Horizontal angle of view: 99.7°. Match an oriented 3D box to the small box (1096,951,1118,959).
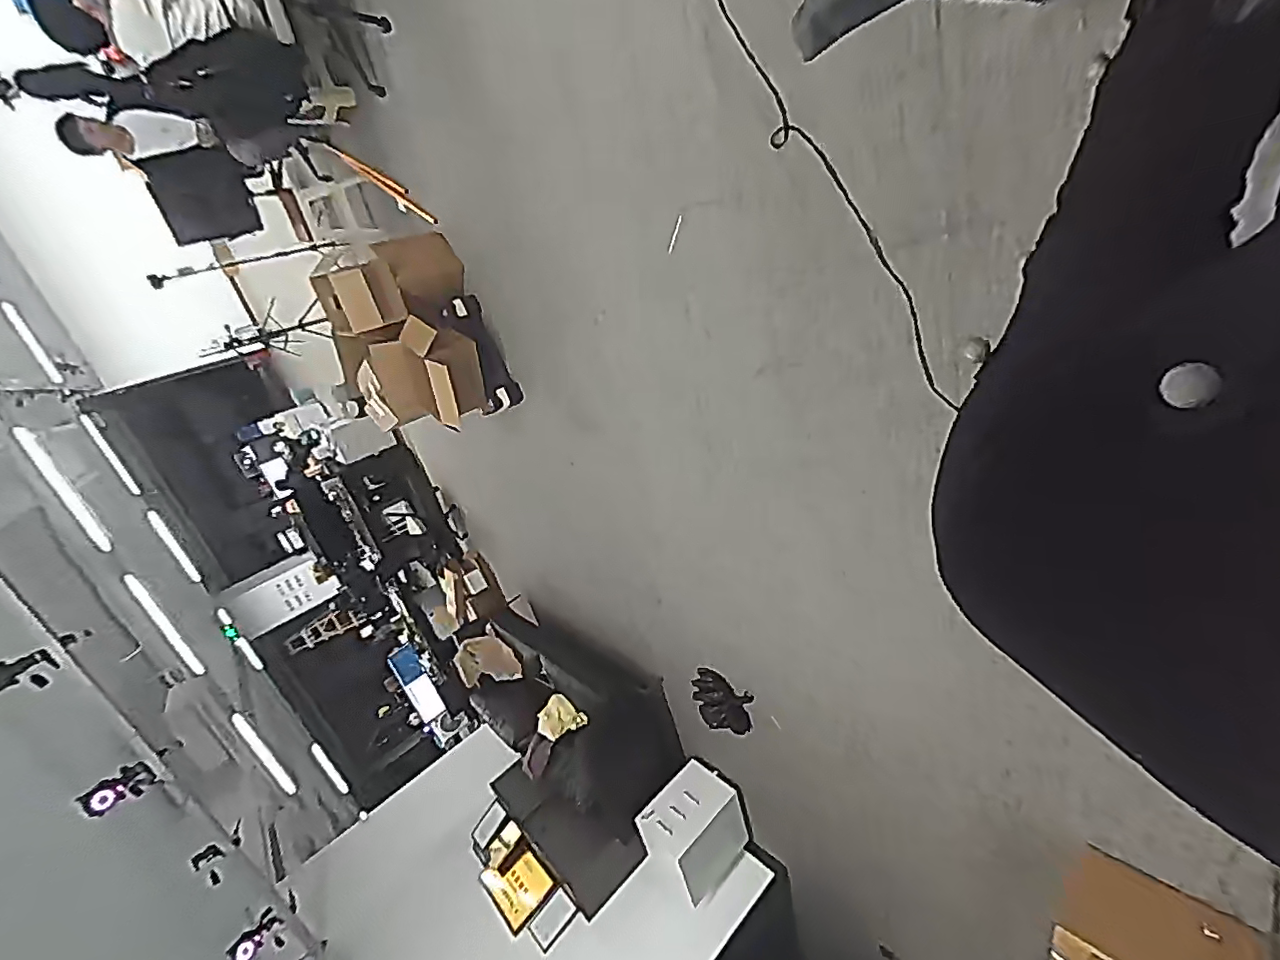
[{"bbox_3d":[1.323,1.453,1.464,0.179,0.176,0.168,19,129,47],"label":"small box"}]
